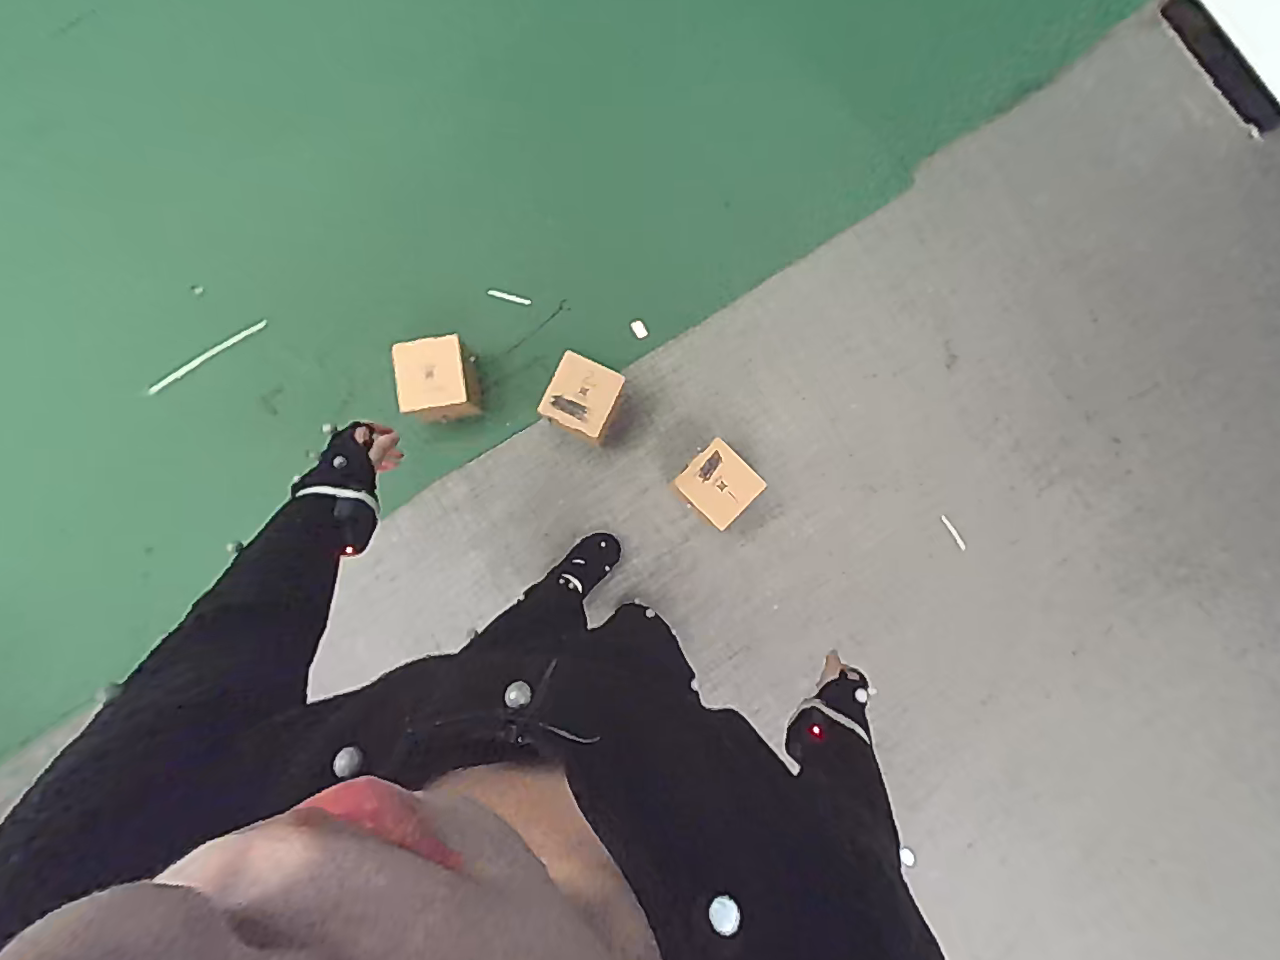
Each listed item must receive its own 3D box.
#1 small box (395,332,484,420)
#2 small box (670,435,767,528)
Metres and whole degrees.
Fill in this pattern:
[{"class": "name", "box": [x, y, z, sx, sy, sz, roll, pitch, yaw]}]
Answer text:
[{"class": "small box", "box": [-0.520, -0.268, 1.420, 0.168, 0.176, 0.179, -8, 86, -1]}, {"class": "small box", "box": [0.195, 0.009, 1.411, 0.168, 0.176, 0.179, -44, 89, -3]}]
